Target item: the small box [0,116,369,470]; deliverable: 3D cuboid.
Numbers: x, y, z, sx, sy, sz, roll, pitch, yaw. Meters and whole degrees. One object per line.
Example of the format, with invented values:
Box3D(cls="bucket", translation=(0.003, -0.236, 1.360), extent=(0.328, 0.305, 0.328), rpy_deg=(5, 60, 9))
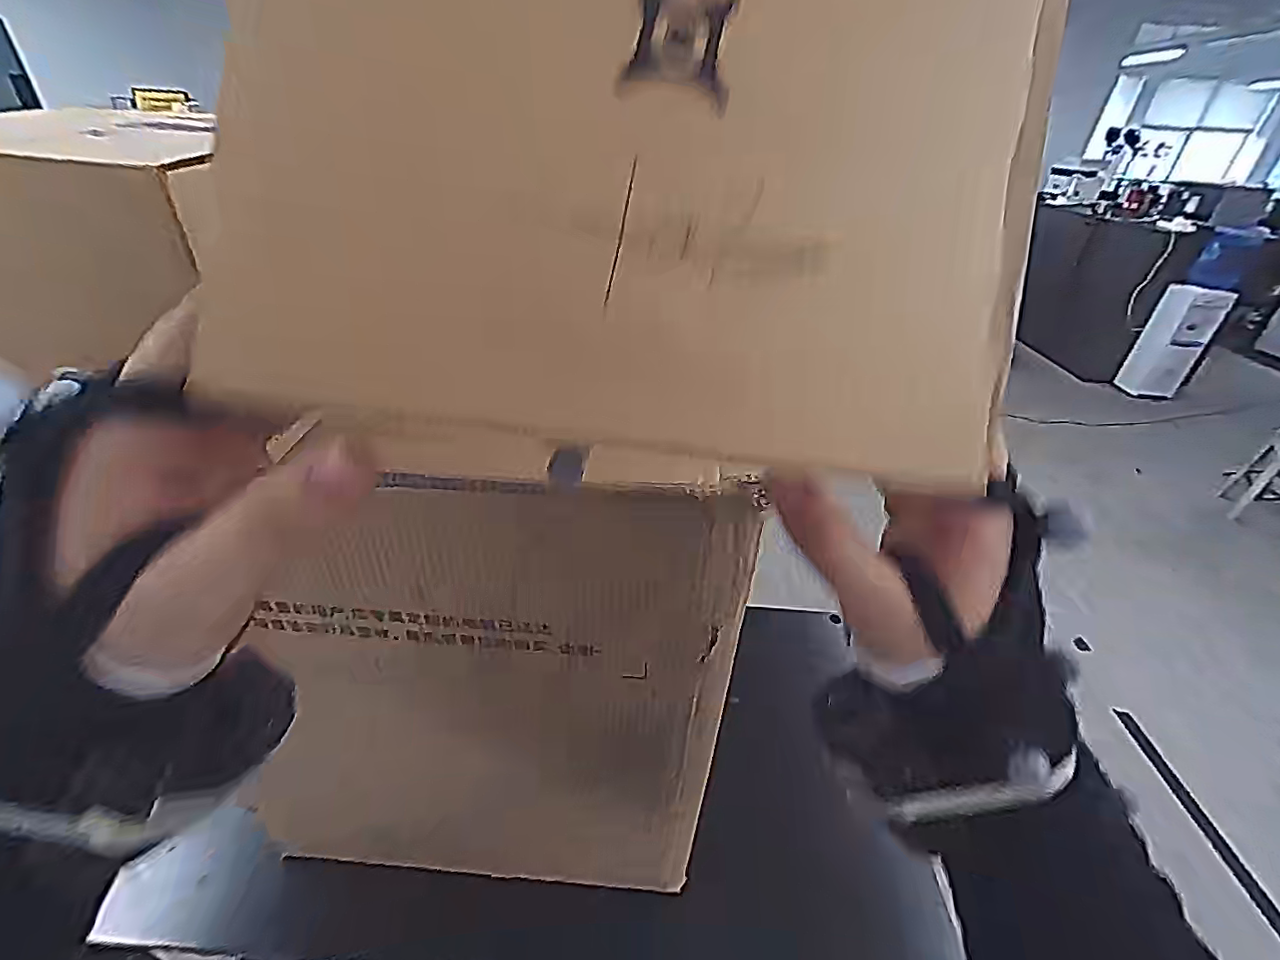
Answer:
Box3D(cls="small box", translation=(-0.300, -0.128, 0.357), extent=(0.168, 0.176, 0.179), rpy_deg=(4, 37, -3))
